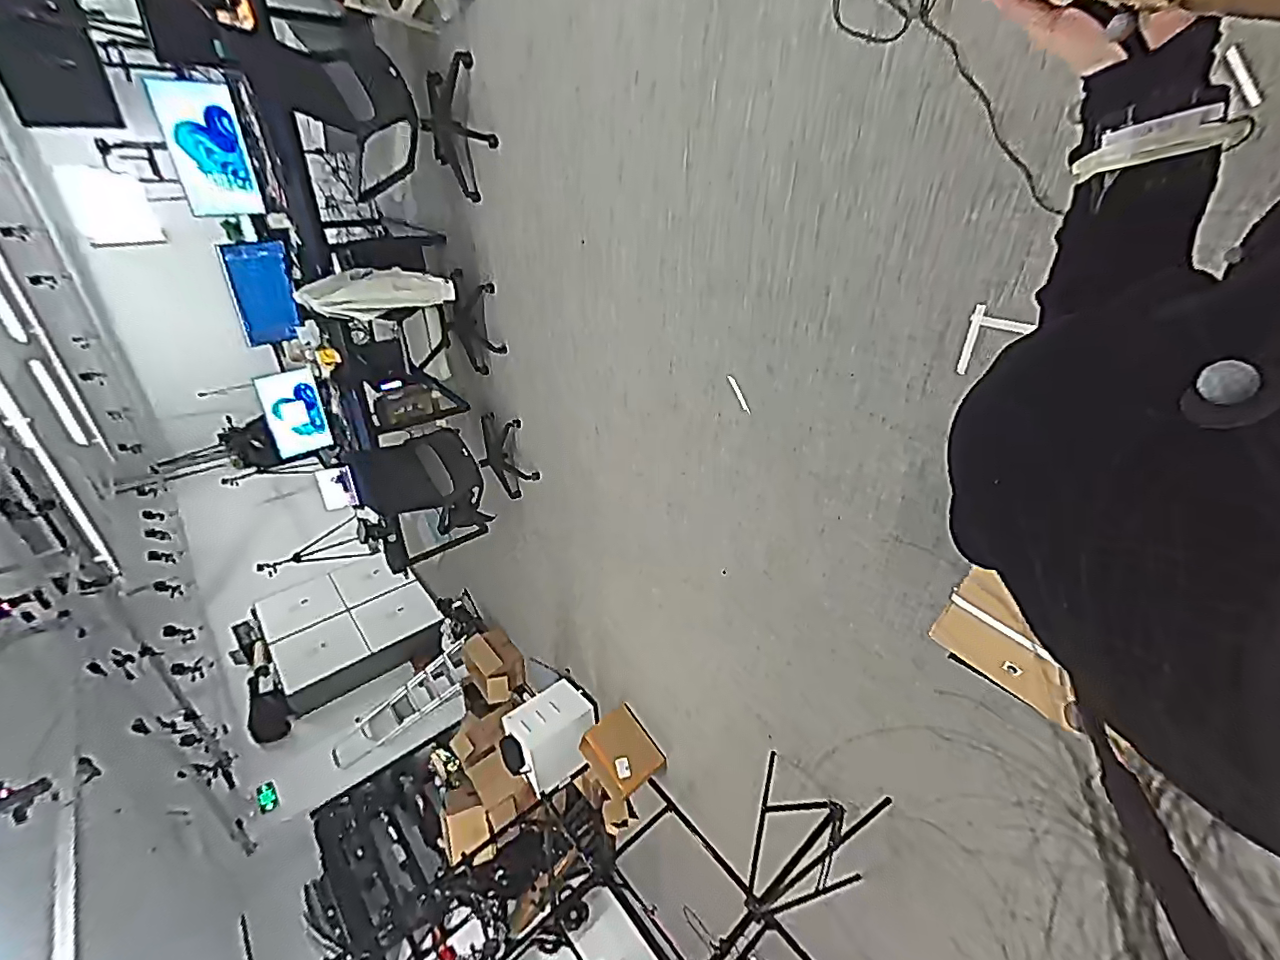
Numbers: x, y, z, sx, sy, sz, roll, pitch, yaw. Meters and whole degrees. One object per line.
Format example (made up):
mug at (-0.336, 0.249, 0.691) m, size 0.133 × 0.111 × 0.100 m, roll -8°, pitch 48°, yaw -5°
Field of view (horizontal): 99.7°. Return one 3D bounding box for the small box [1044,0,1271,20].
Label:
small box at (0.243, -0.329, 0.247) m, size 0.179 × 0.176 × 0.168 m, roll 49°, pitch 147°, yaw 34°
